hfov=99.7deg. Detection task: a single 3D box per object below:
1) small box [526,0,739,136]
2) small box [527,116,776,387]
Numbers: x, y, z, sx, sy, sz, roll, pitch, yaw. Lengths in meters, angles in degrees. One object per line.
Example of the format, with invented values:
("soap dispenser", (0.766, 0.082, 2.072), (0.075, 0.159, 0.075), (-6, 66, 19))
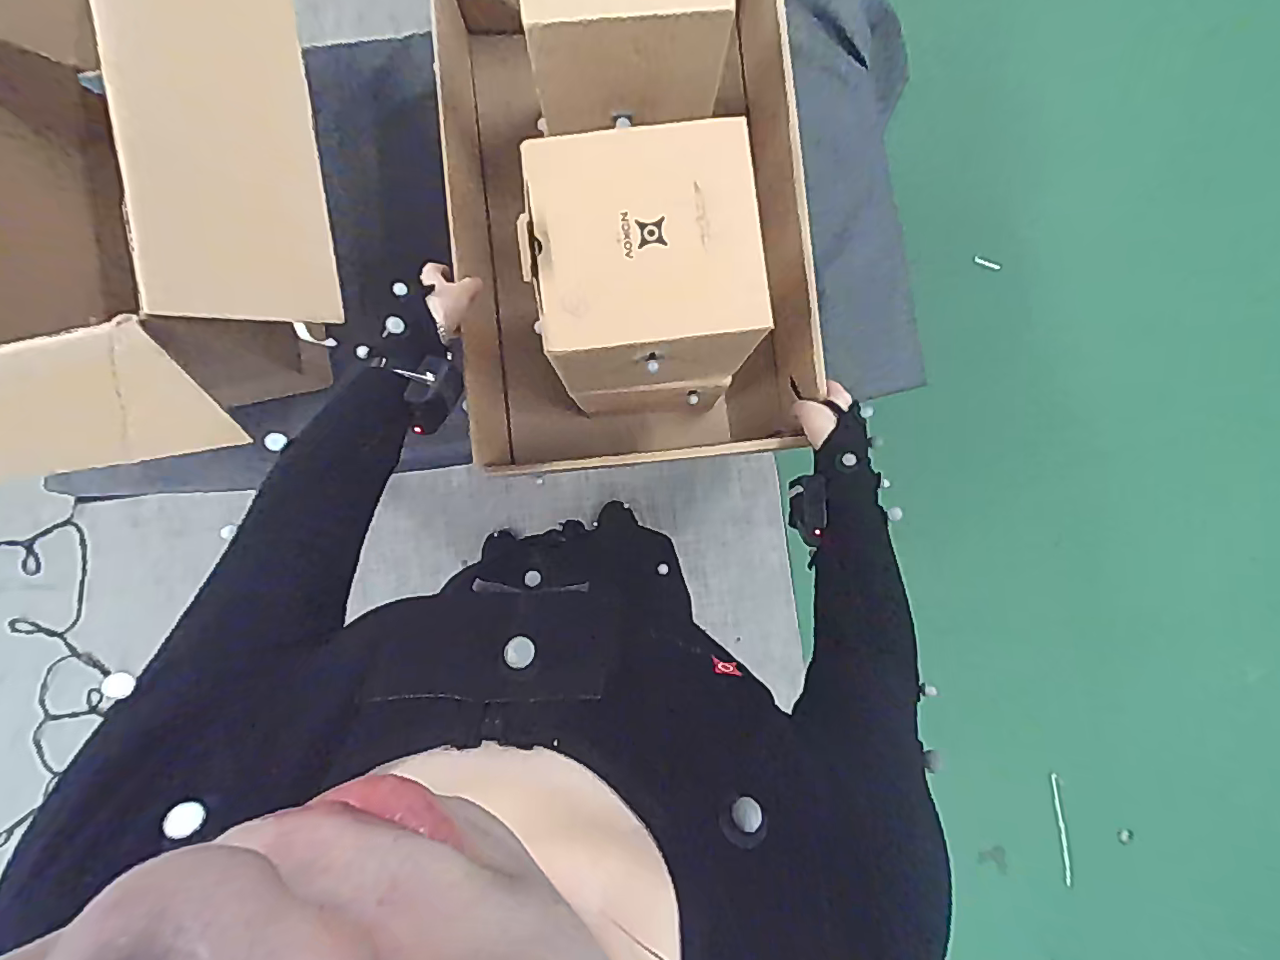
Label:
("small box", (-0.013, -0.439, 0.490), (0.168, 0.176, 0.179), (-5, 92, -1))
("small box", (0.008, -0.186, 0.491), (0.179, 0.176, 0.168), (-7, 90, -2))
